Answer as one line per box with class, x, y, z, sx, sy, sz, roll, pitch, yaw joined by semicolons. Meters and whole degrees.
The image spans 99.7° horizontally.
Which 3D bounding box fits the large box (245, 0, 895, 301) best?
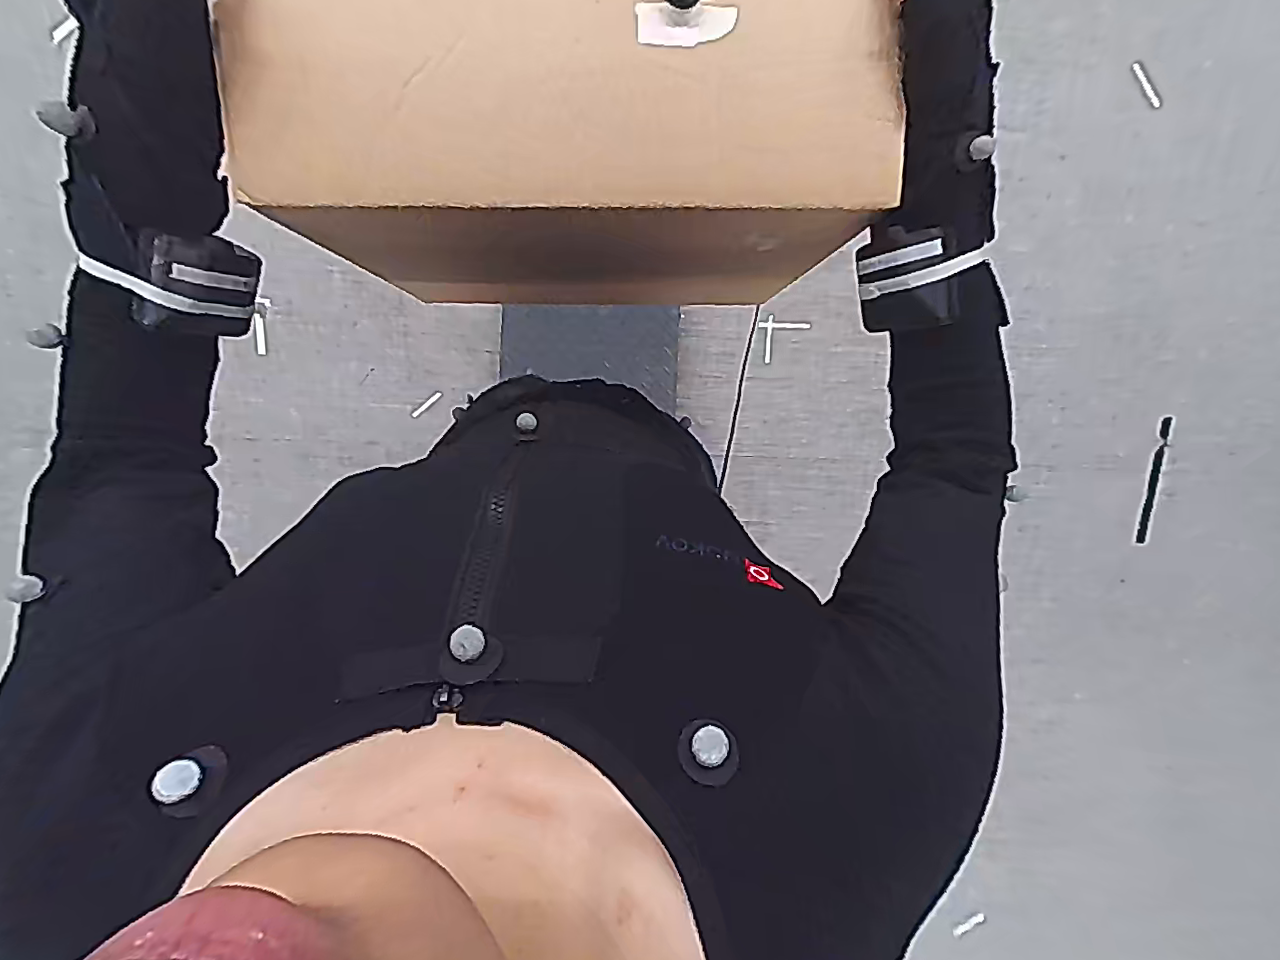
large box;-0.047;-0.350;0.474;0.408;0.320;0.320;-1;98;-3
